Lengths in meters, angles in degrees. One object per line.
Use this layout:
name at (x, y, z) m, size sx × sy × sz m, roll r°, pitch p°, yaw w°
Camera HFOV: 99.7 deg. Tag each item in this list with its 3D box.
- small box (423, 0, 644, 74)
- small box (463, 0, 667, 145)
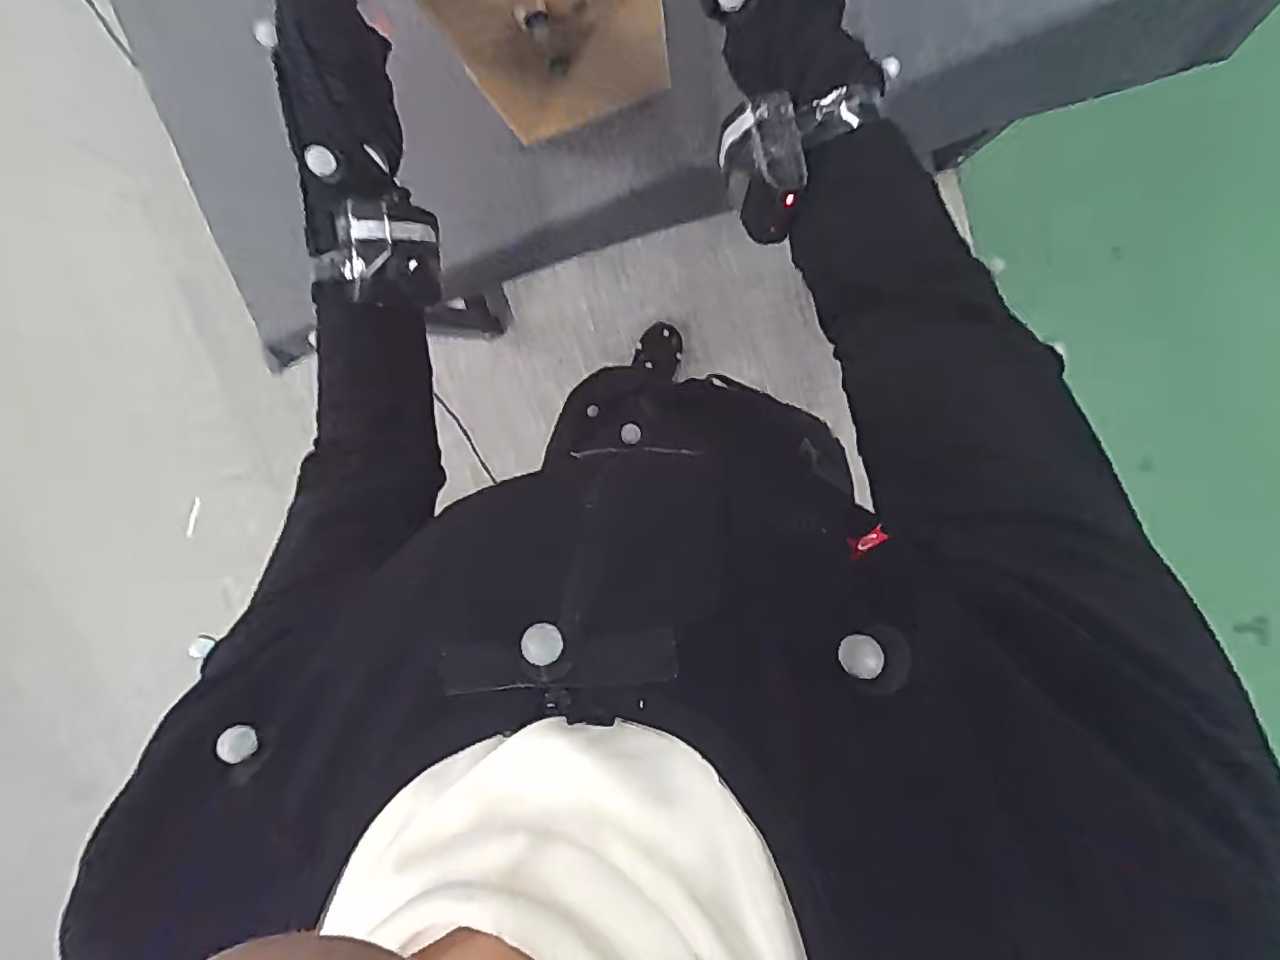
small box at (-0.101, -0.431, 0.361) m, size 0.168 × 0.176 × 0.179 m, roll -16°, pitch 100°, yaw 11°
small box at (-0.080, -0.470, 0.535) m, size 0.179 × 0.176 × 0.168 m, roll -16°, pitch 100°, yaw 9°
